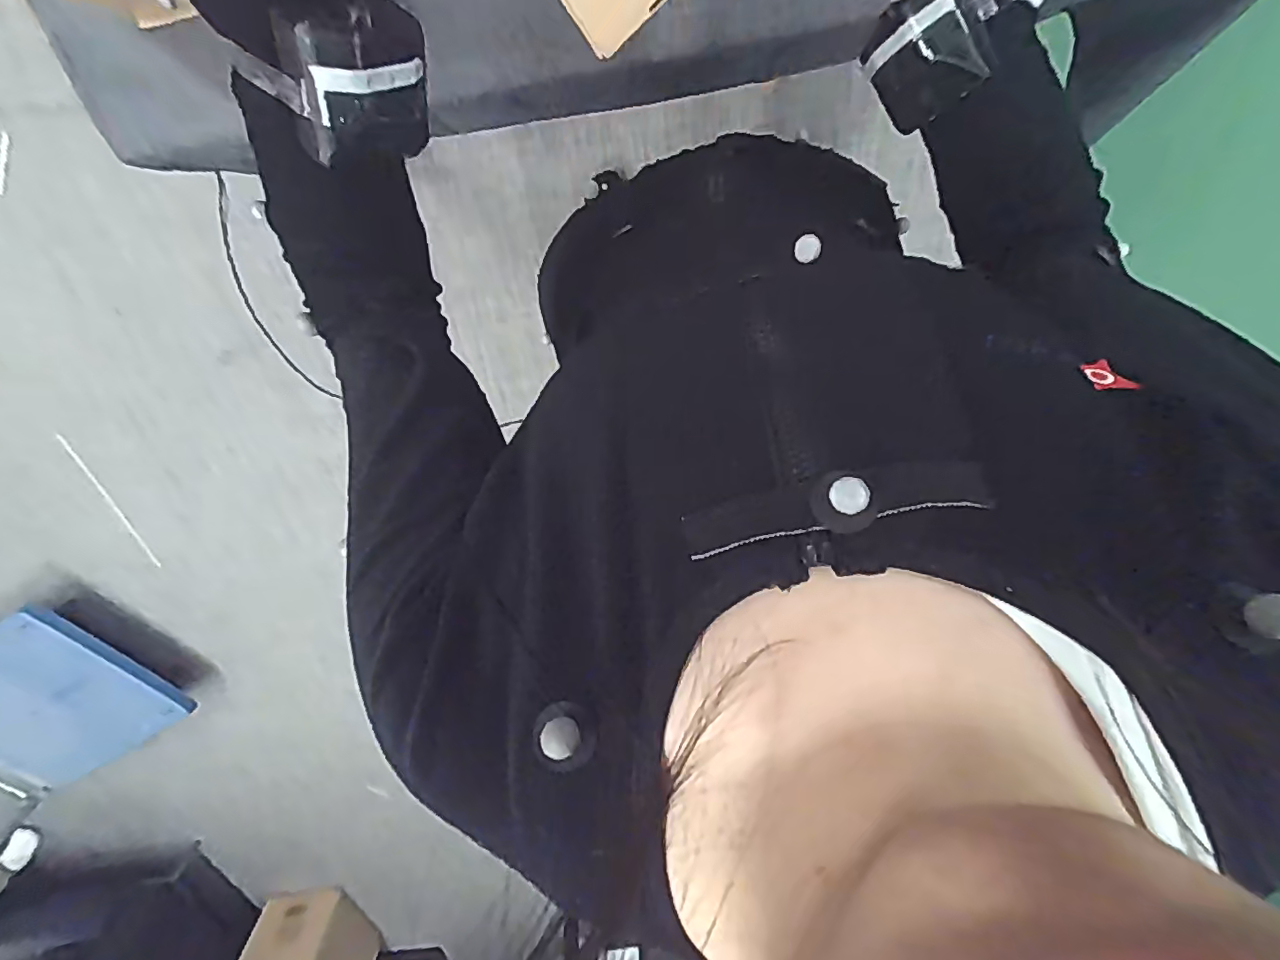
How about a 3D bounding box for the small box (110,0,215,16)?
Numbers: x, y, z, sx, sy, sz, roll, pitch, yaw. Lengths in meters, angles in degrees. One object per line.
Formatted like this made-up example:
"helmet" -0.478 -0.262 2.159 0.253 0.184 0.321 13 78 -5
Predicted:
"small box" -0.419 -0.493 0.403 0.168 0.176 0.179 -10 119 4
